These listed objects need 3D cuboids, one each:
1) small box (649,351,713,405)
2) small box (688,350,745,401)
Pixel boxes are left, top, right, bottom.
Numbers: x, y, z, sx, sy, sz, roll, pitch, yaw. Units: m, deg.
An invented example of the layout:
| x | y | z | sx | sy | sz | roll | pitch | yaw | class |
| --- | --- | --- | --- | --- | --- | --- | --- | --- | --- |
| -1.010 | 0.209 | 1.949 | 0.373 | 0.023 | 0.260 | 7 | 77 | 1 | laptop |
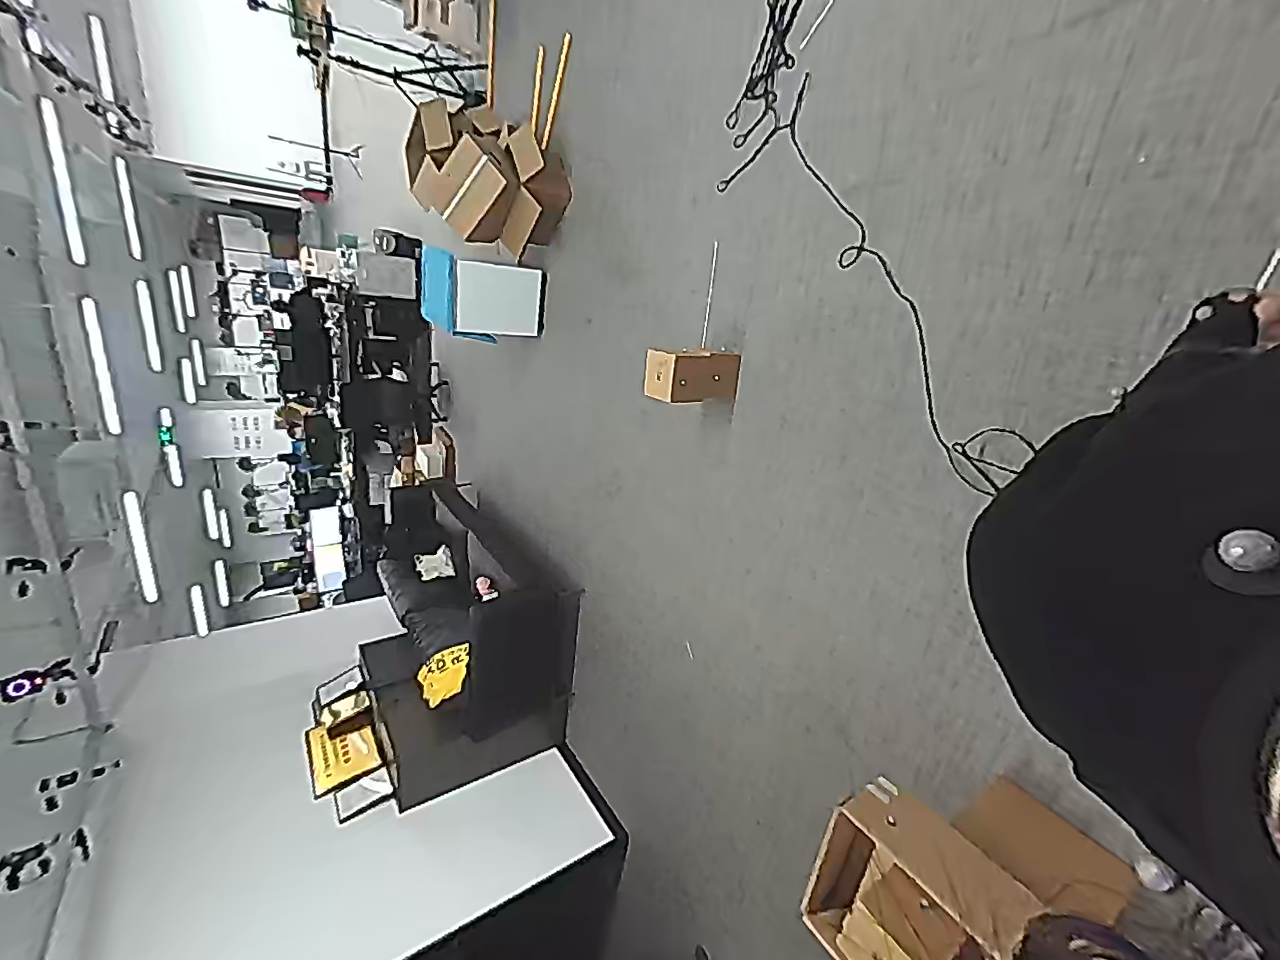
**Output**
| x | y | z | sx | sy | sz | roll | pitch | yaw | class |
| --- | --- | --- | --- | --- | --- | --- | --- | --- | --- |
| 0.156 | -0.386 | 2.038 | 0.168 | 0.176 | 0.179 | 29 | 119 | 49 | small box |
| 0.292 | -0.413 | 2.127 | 0.168 | 0.176 | 0.179 | 29 | 119 | 50 | small box |
